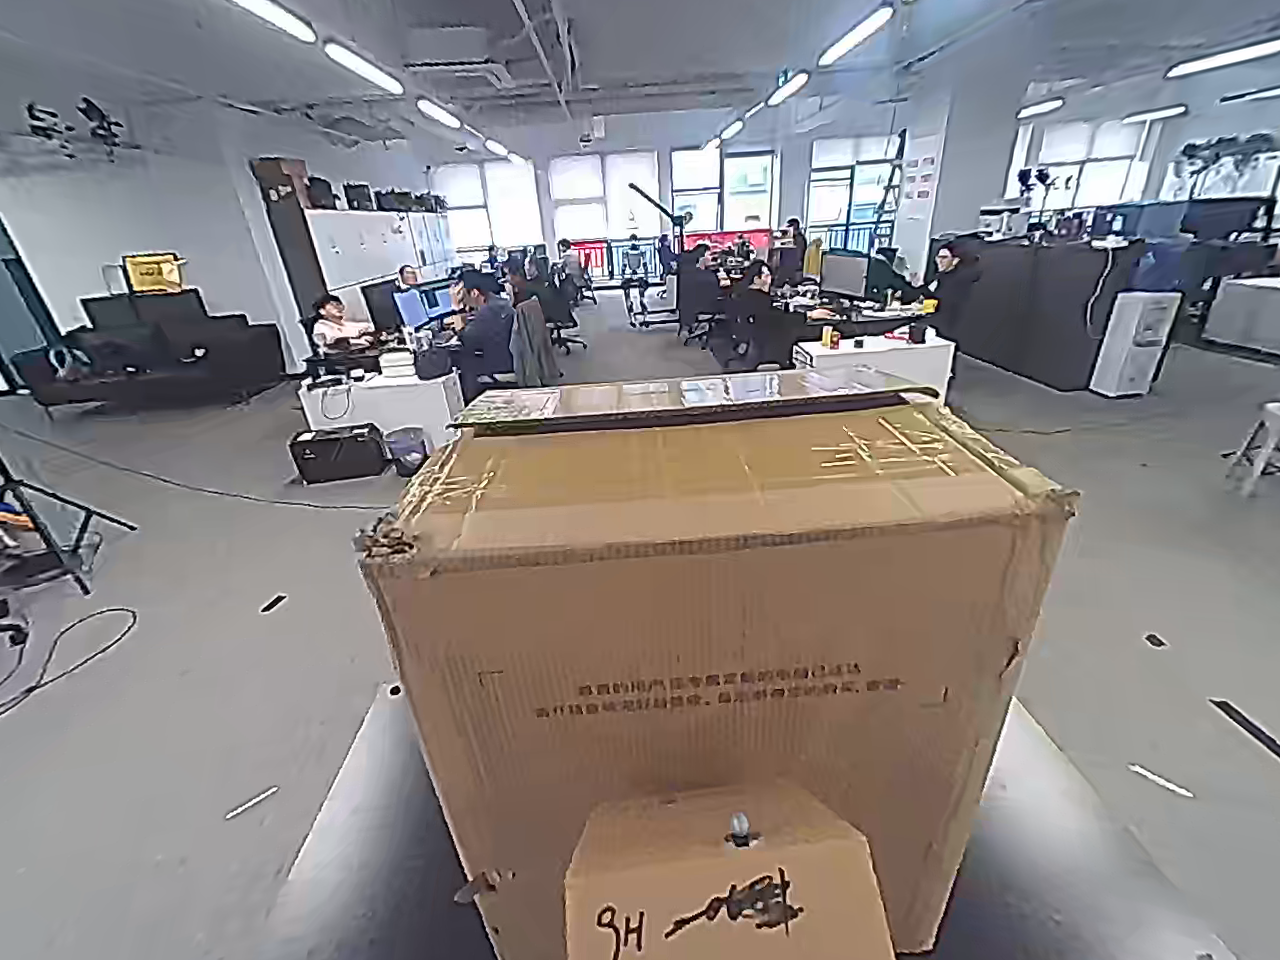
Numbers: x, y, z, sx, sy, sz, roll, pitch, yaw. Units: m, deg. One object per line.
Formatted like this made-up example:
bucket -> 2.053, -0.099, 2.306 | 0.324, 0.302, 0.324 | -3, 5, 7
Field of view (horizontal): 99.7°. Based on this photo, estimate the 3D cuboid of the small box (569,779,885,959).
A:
small box -> 0.052, 0.312, 0.347 | 0.168, 0.176, 0.179 | -7, 70, -2
